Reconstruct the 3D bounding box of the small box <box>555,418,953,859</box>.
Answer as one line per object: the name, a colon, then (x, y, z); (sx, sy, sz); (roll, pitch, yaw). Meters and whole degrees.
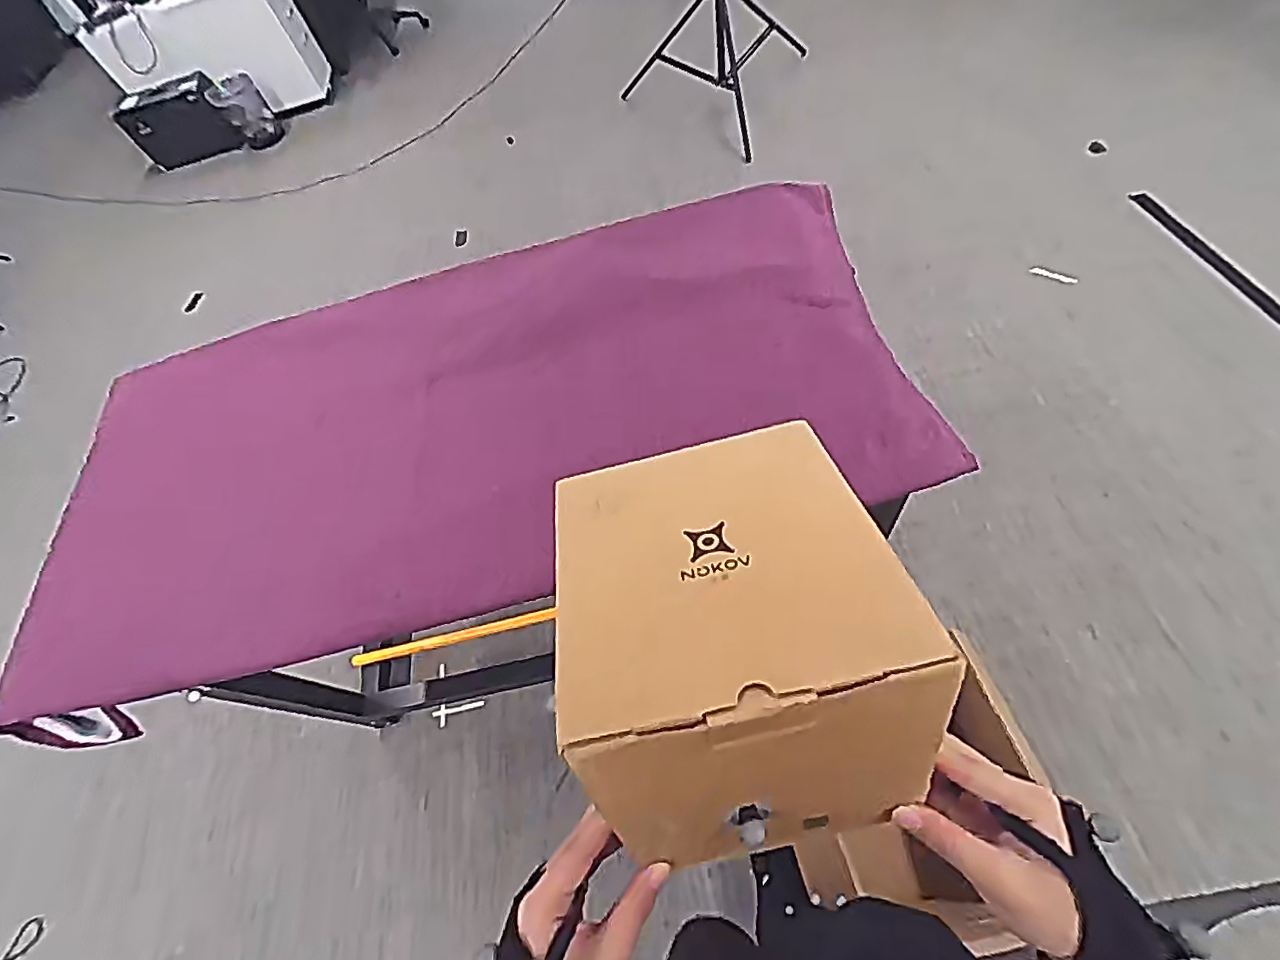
small box: (0.051, 0.092, 0.331); (0.168, 0.176, 0.179); (-15, 40, 2)
